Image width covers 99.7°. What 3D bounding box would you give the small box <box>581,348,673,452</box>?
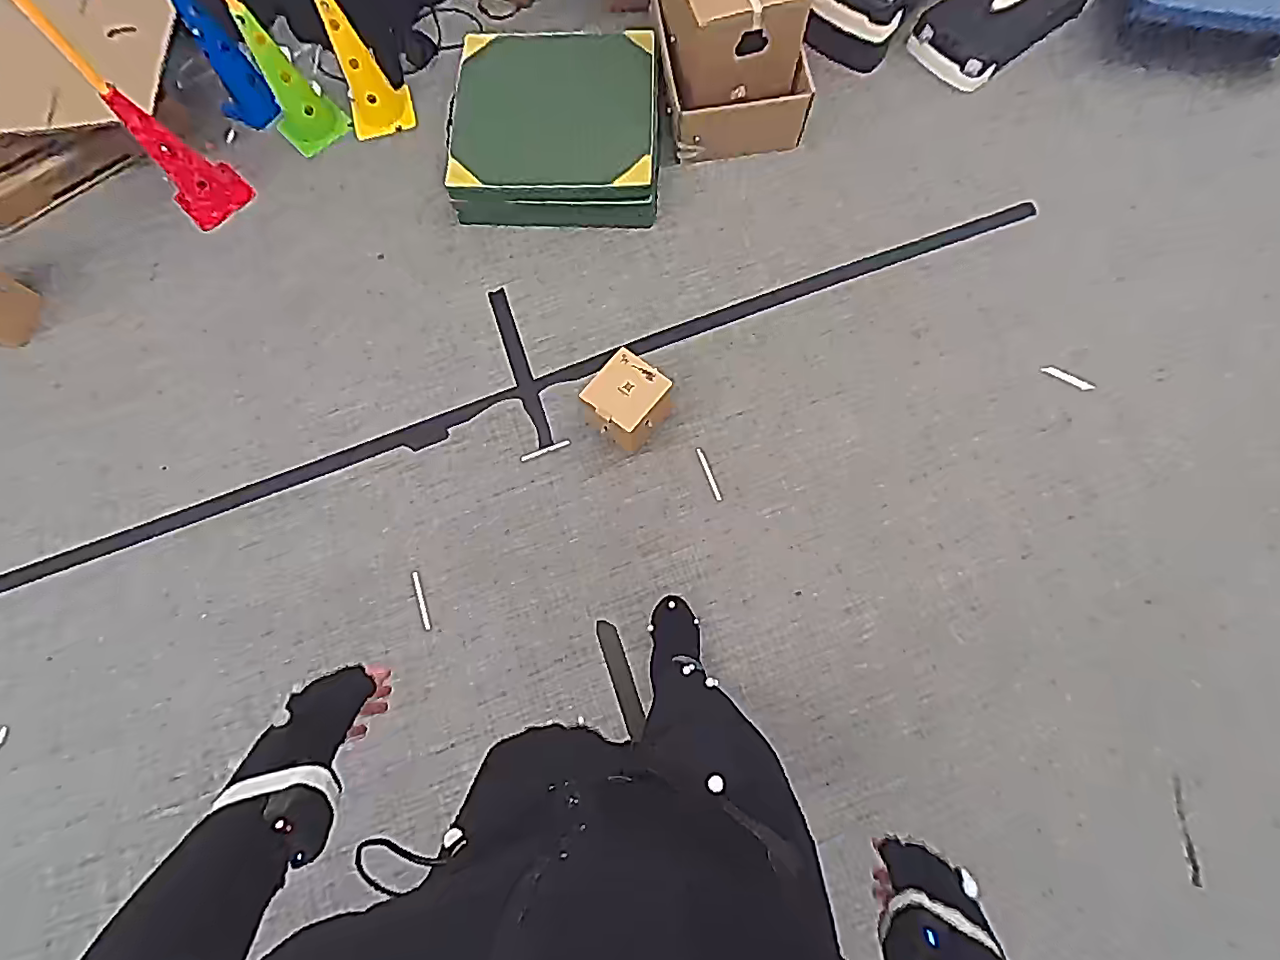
[{"bbox_3d":[-0.026,-0.200,1.406,0.168,0.176,0.179,35,78,12],"label":"small box"}]
